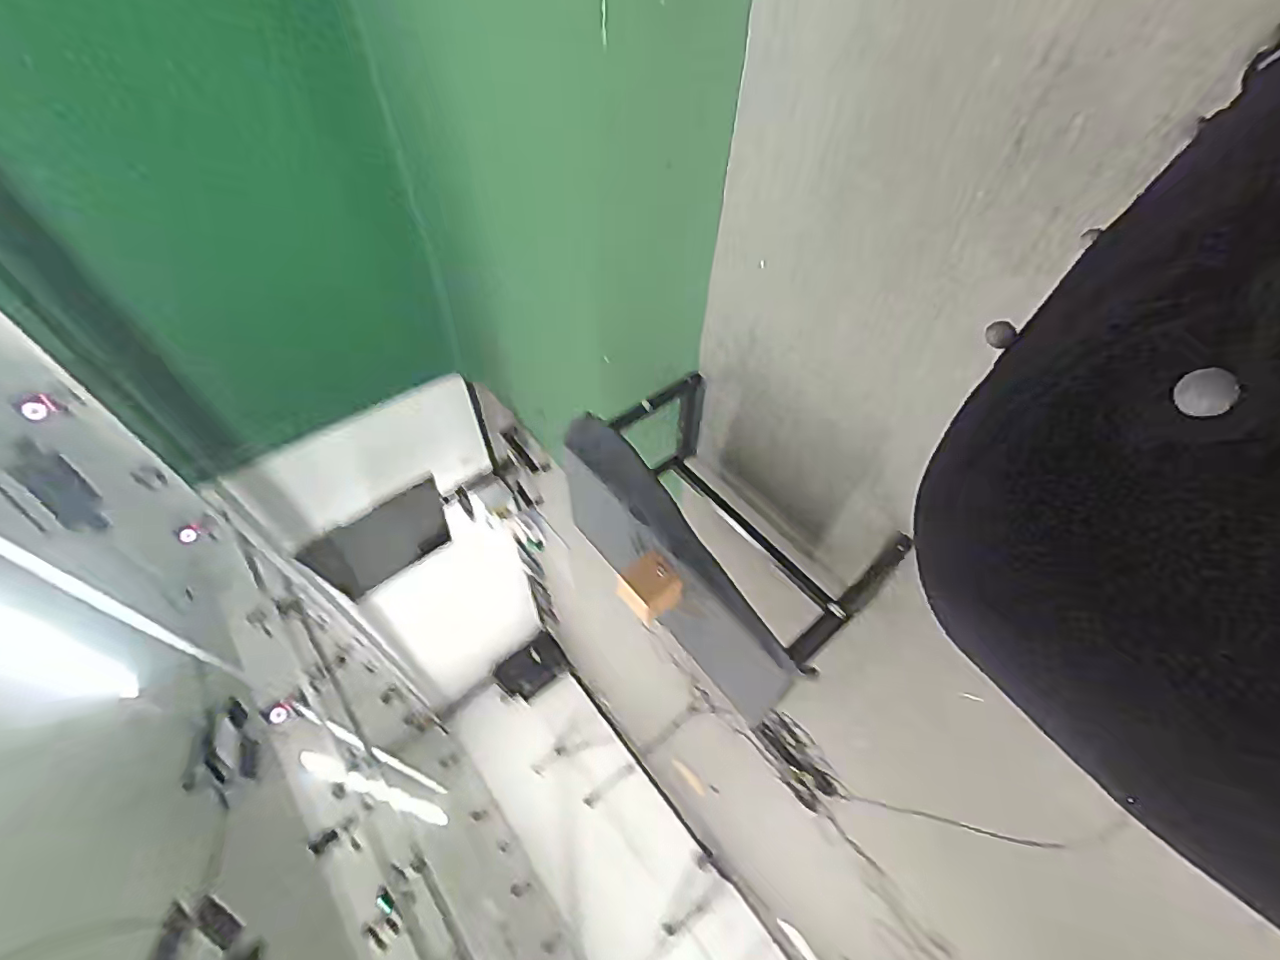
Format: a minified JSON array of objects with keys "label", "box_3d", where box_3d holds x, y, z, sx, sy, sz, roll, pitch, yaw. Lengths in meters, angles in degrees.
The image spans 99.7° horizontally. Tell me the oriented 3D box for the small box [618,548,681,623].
[{"label":"small box","box_3d":[0.035,0.384,1.975,0.168,0.176,0.179,43,152,28]}]
